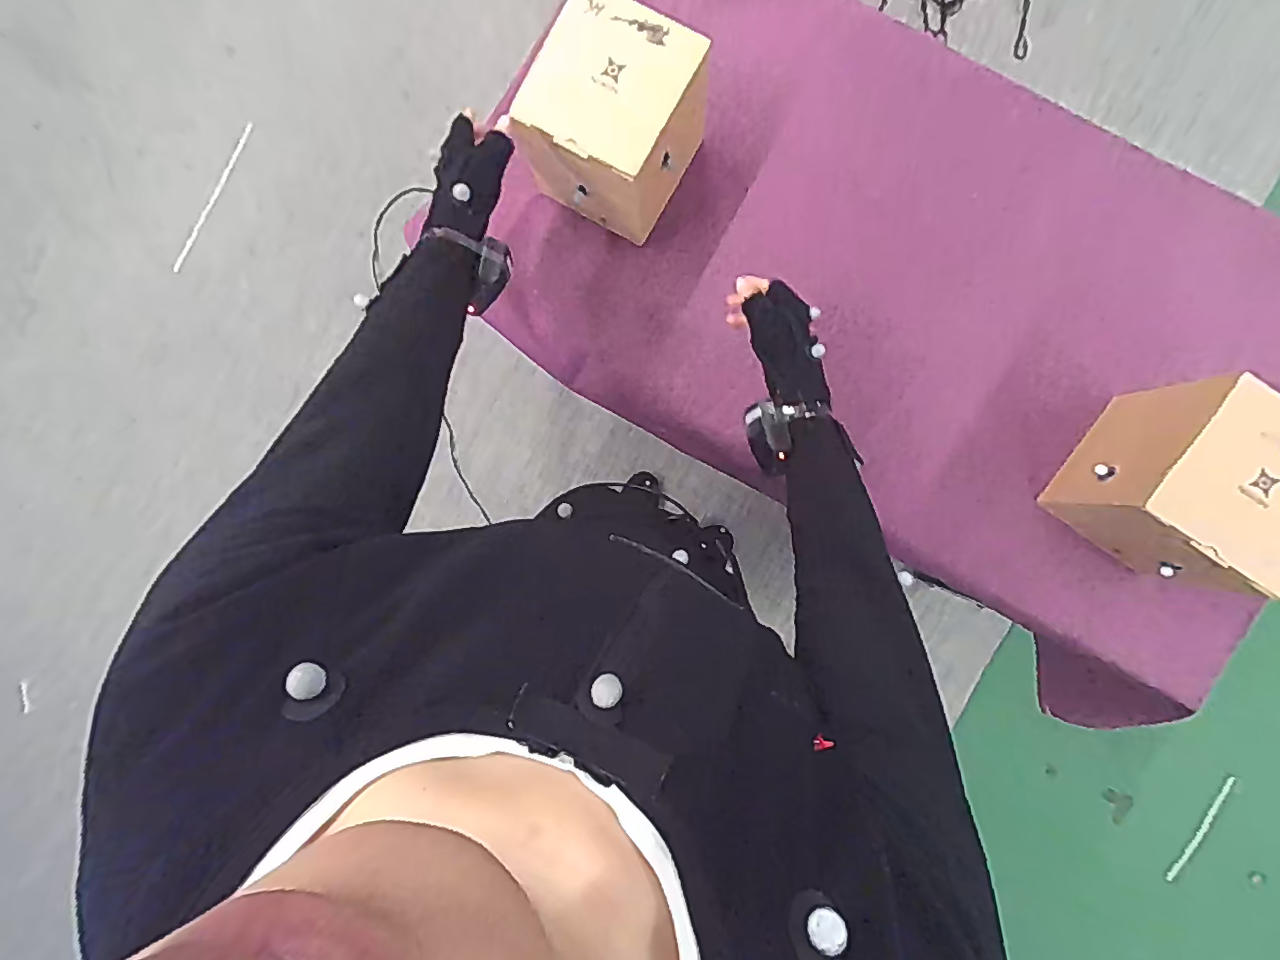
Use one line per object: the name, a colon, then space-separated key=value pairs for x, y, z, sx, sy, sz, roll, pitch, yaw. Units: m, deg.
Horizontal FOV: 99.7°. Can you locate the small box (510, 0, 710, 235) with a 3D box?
small box: x=-0.028 y=-0.443 z=0.669 sx=0.168 sy=0.176 sz=0.179 roll=30 pitch=92 yaw=3

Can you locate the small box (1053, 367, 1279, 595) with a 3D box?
small box: x=0.635 y=0.002 z=0.626 sx=0.168 sy=0.176 sz=0.179 roll=37 pitch=92 yaw=3
